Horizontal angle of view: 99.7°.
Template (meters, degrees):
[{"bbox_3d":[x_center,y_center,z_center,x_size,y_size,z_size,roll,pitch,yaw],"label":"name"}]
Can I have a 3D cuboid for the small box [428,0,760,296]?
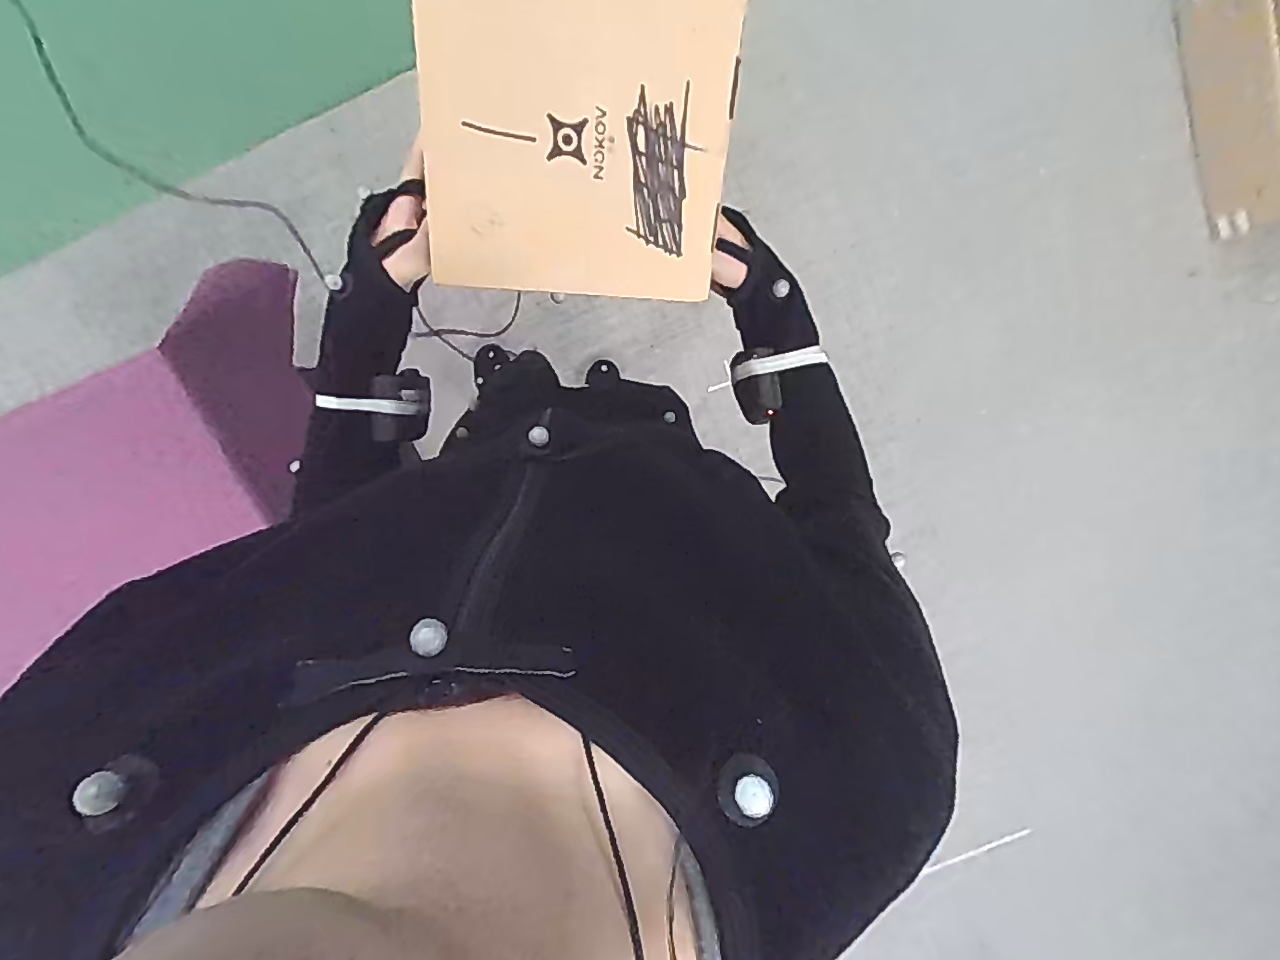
[{"bbox_3d":[-0.042,-0.234,0.379,0.179,0.176,0.168,2,115,-11],"label":"small box"}]
